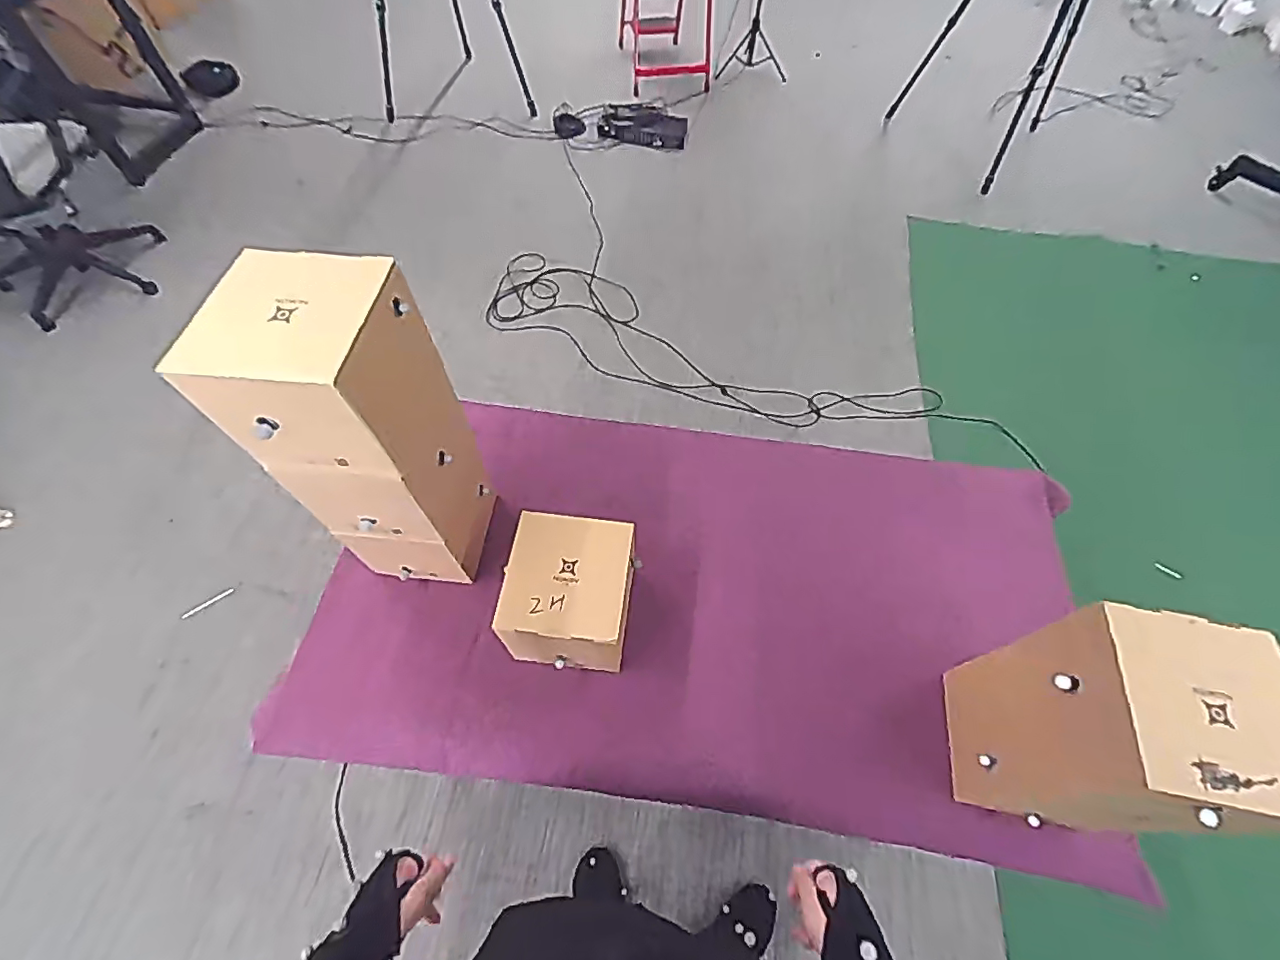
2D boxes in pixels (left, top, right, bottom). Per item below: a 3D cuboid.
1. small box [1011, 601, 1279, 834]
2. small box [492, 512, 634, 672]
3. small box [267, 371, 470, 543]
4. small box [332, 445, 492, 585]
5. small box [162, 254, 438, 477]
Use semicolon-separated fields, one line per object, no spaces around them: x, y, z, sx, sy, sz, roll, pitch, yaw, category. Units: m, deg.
0.528;0.253;0.570;0.168;0.176;0.179;10;58;7;small box
-0.103;0.170;0.803;0.168;0.176;0.179;6;59;3;small box
-0.344;-0.034;0.731;0.168;0.176;0.179;5;59;3;small box
-0.348;0.052;0.870;0.168;0.176;0.179;5;59;2;small box
-0.342;-0.118;0.593;0.168;0.176;0.179;4;58;3;small box
